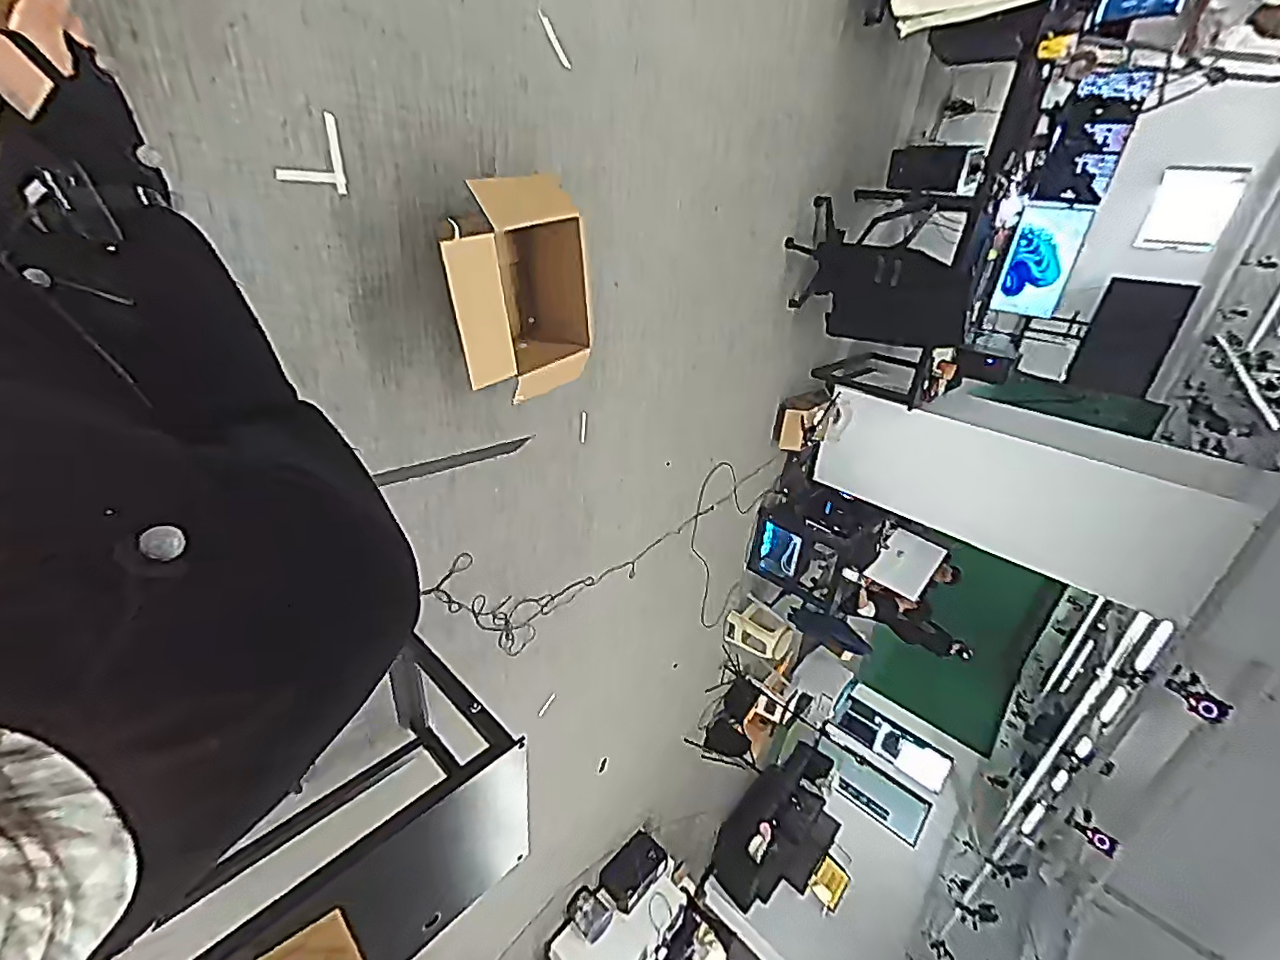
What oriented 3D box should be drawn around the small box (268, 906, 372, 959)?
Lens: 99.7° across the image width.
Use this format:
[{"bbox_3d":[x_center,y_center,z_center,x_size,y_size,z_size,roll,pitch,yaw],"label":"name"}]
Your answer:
[{"bbox_3d":[-0.729,1.130,1.212,0.179,0.176,0.168,-7,118,-51],"label":"small box"}]
